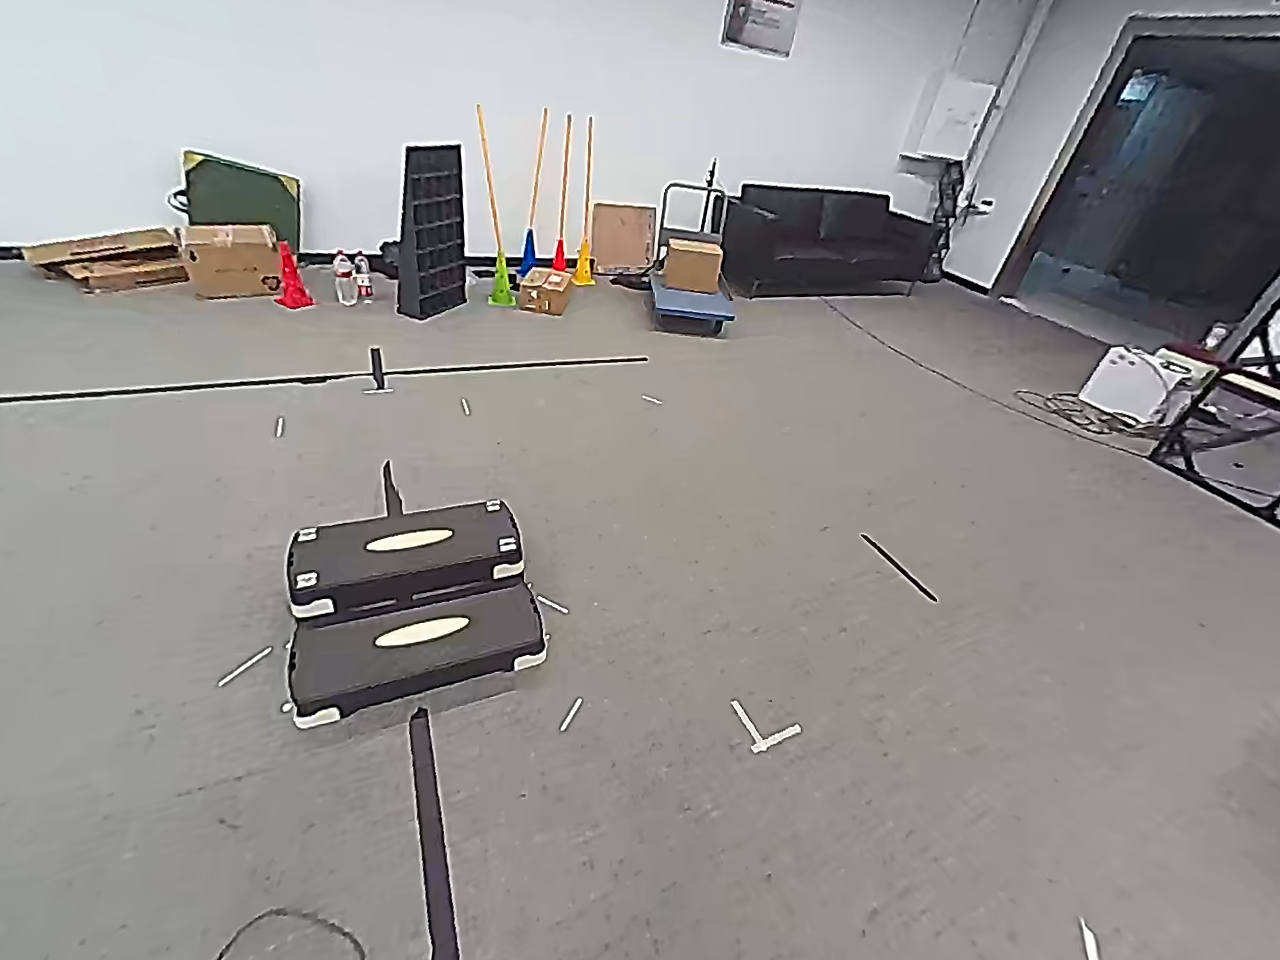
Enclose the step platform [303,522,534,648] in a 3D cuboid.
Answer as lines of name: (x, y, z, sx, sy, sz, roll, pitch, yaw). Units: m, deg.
step platform: (-0.694, 0.318, 1.753, 0.684, 0.204, 0.286, -4, 36, -21)
